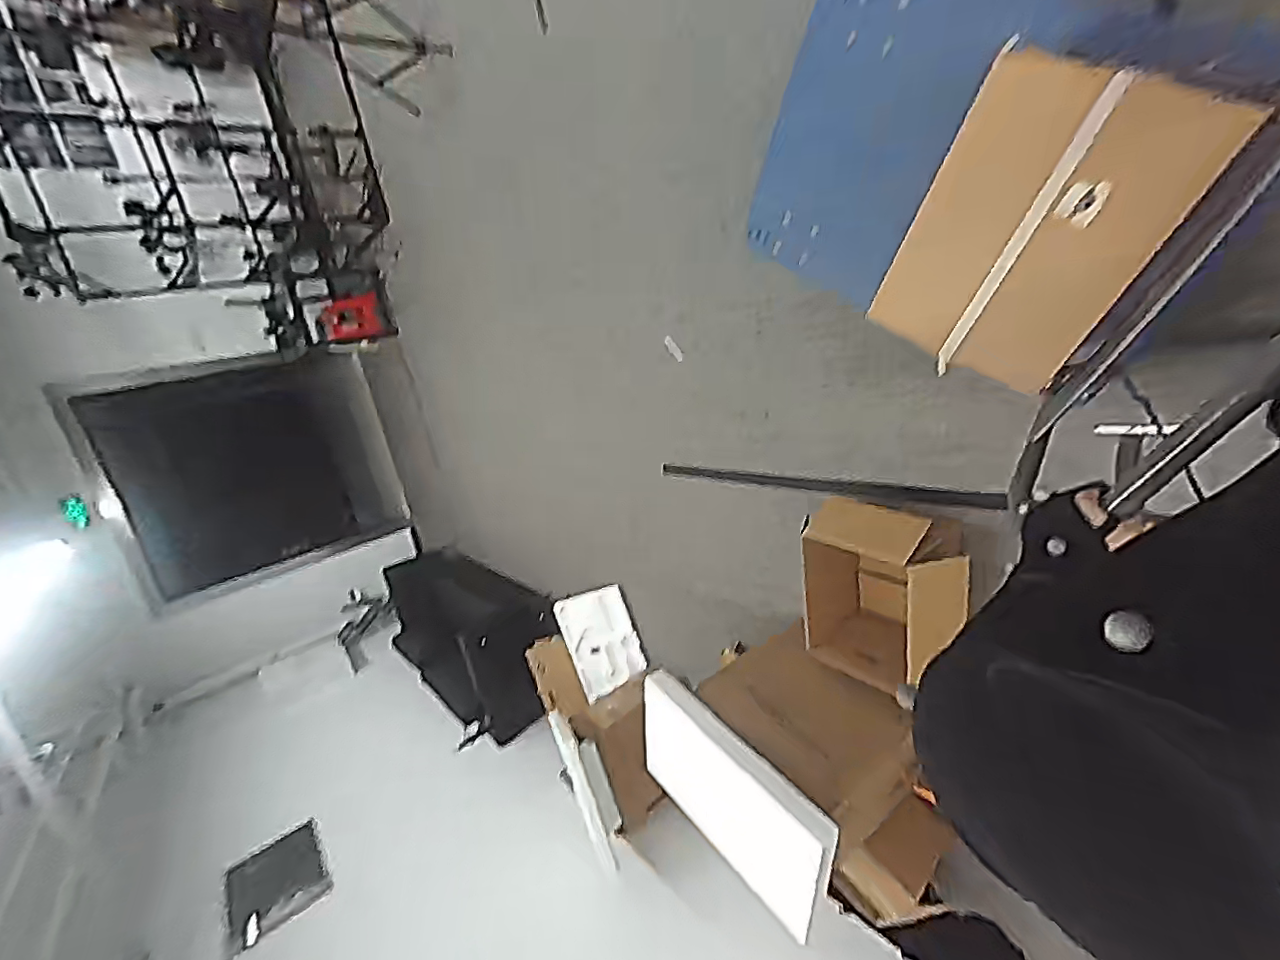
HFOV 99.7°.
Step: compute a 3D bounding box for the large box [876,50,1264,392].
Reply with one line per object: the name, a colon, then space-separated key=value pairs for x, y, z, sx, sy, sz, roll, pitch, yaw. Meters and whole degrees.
large box: x=0.676 y=-0.423 z=0.904 sx=0.320 sy=0.320 sz=0.408 roll=37 pitch=135 yaw=25
